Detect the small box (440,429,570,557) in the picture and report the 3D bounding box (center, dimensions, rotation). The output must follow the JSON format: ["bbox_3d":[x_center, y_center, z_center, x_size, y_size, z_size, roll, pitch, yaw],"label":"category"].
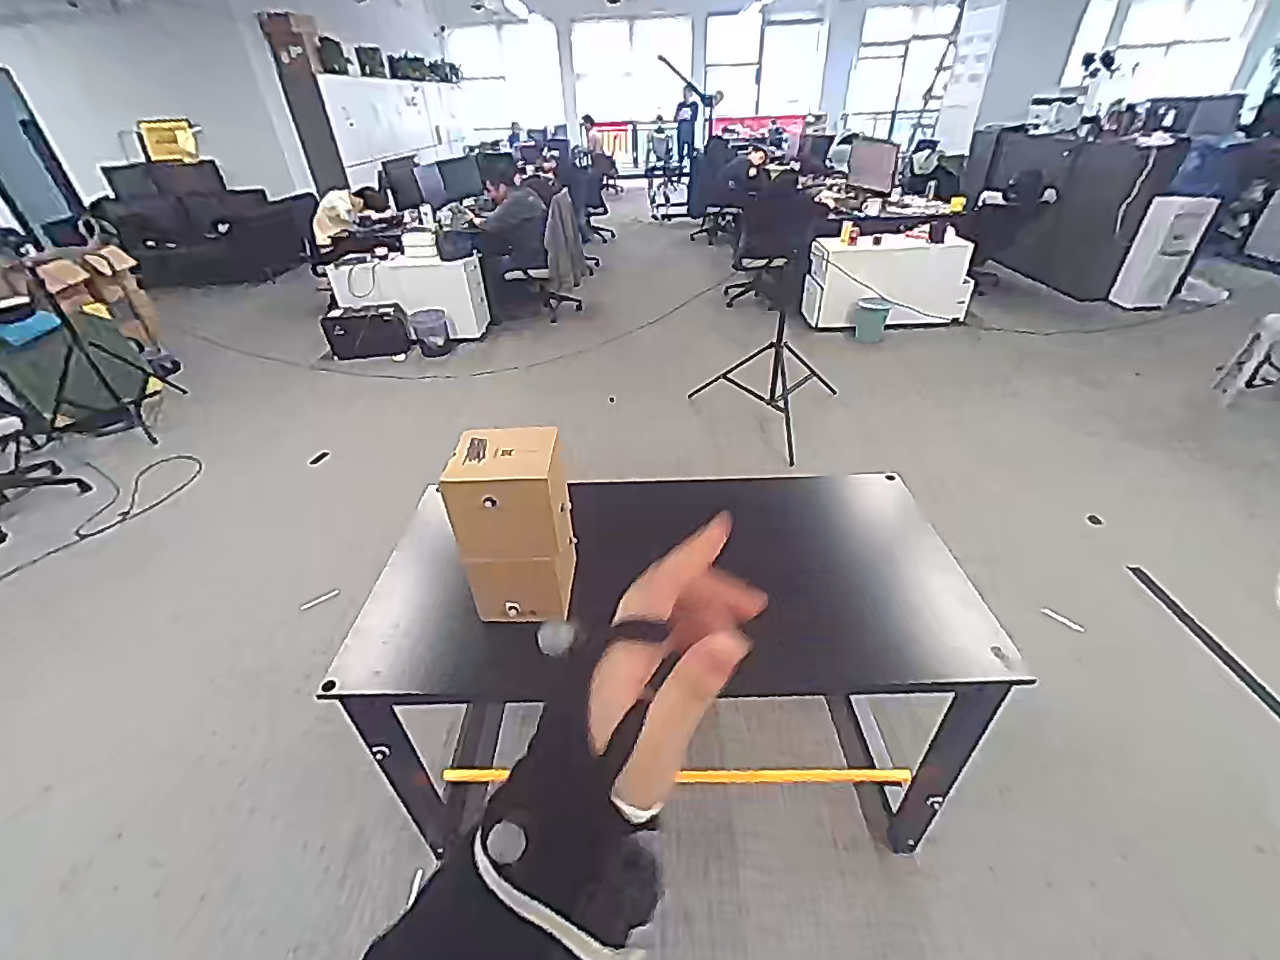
[{"bbox_3d":[-0.227,0.024,0.962,0.179,0.176,0.168,-2,35,1],"label":"small box"}]

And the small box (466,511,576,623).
[{"bbox_3d":[-0.221,0.158,1.057,0.168,0.176,0.179,-2,36,2],"label":"small box"}]
